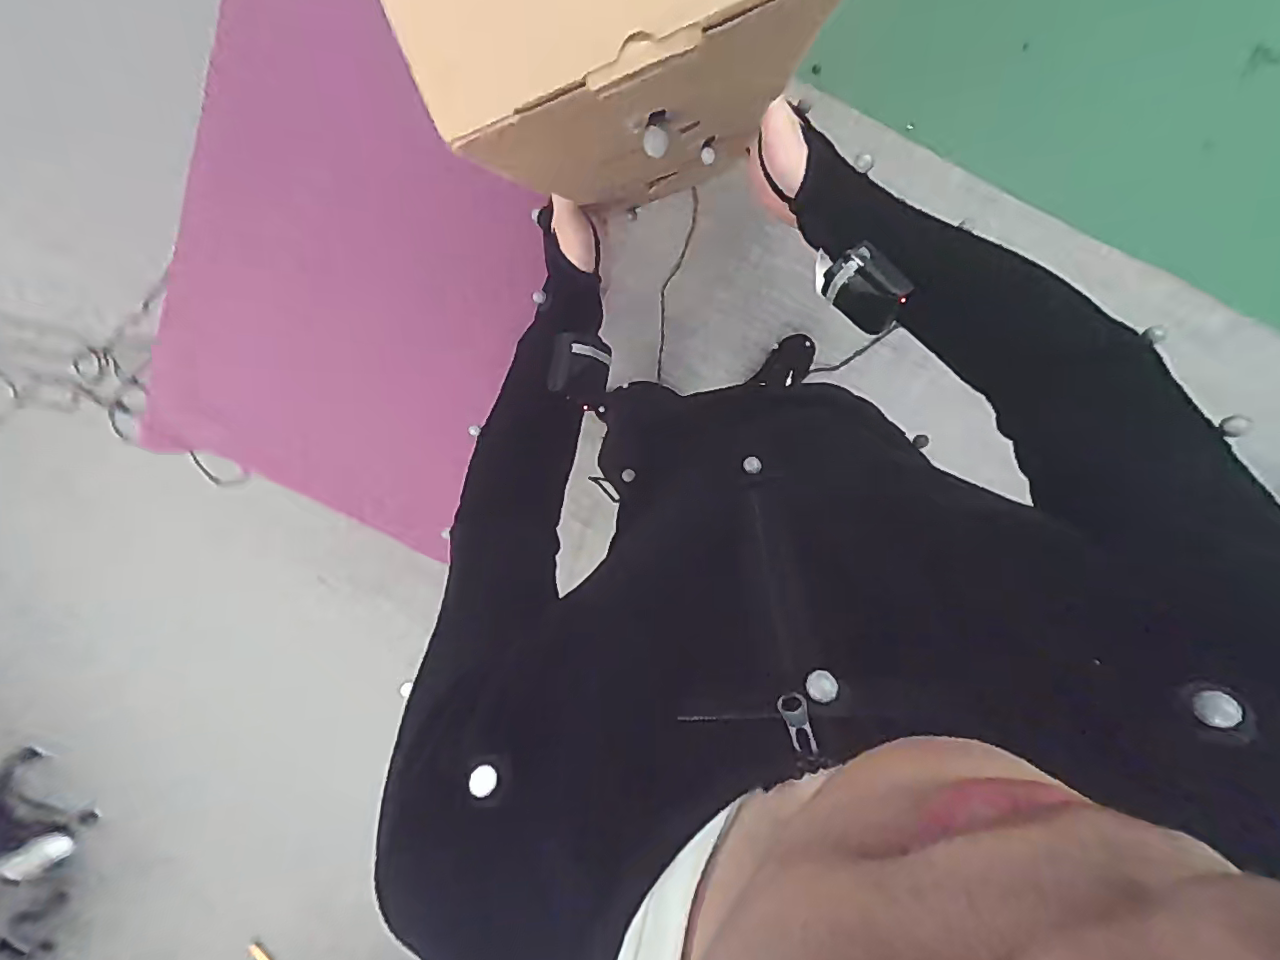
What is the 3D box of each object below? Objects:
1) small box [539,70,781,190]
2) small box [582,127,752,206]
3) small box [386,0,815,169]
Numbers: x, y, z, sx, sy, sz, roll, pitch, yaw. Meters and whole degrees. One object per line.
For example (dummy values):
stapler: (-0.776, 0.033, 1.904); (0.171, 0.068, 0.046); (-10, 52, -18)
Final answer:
small box: (-0.007, -0.328, 0.390); (0.168, 0.176, 0.179); (-16, 110, 11)
small box: (0.007, -0.391, 0.539); (0.168, 0.176, 0.179); (-16, 109, 12)
small box: (-0.022, -0.261, 0.241); (0.168, 0.176, 0.179); (-17, 111, 11)
